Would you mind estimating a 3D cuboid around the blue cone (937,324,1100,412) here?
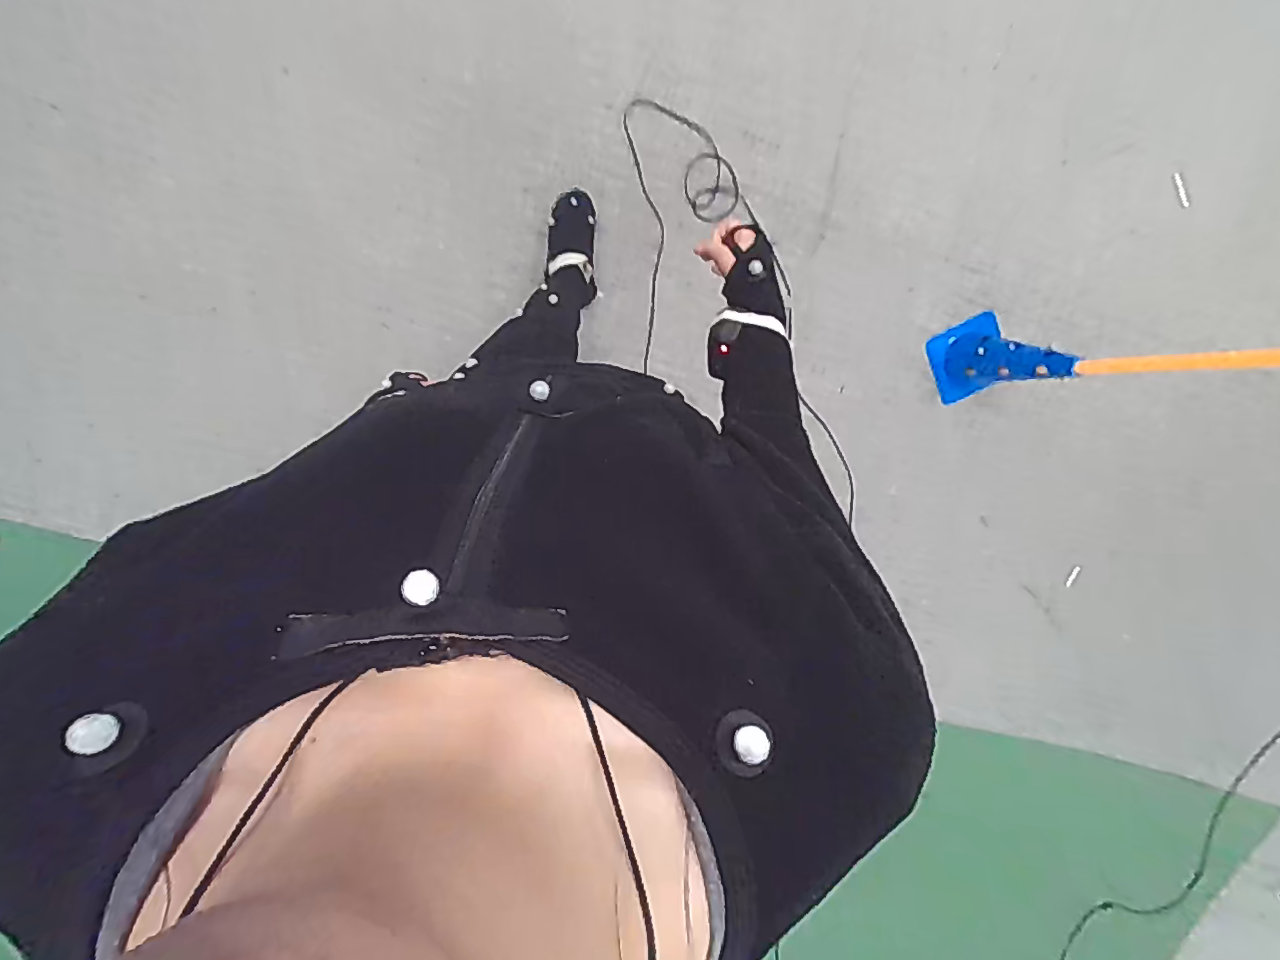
[{"bbox_3d":[0.910,-0.258,1.284,0.193,0.380,0.192,-28,106,3],"label":"blue cone"}]
